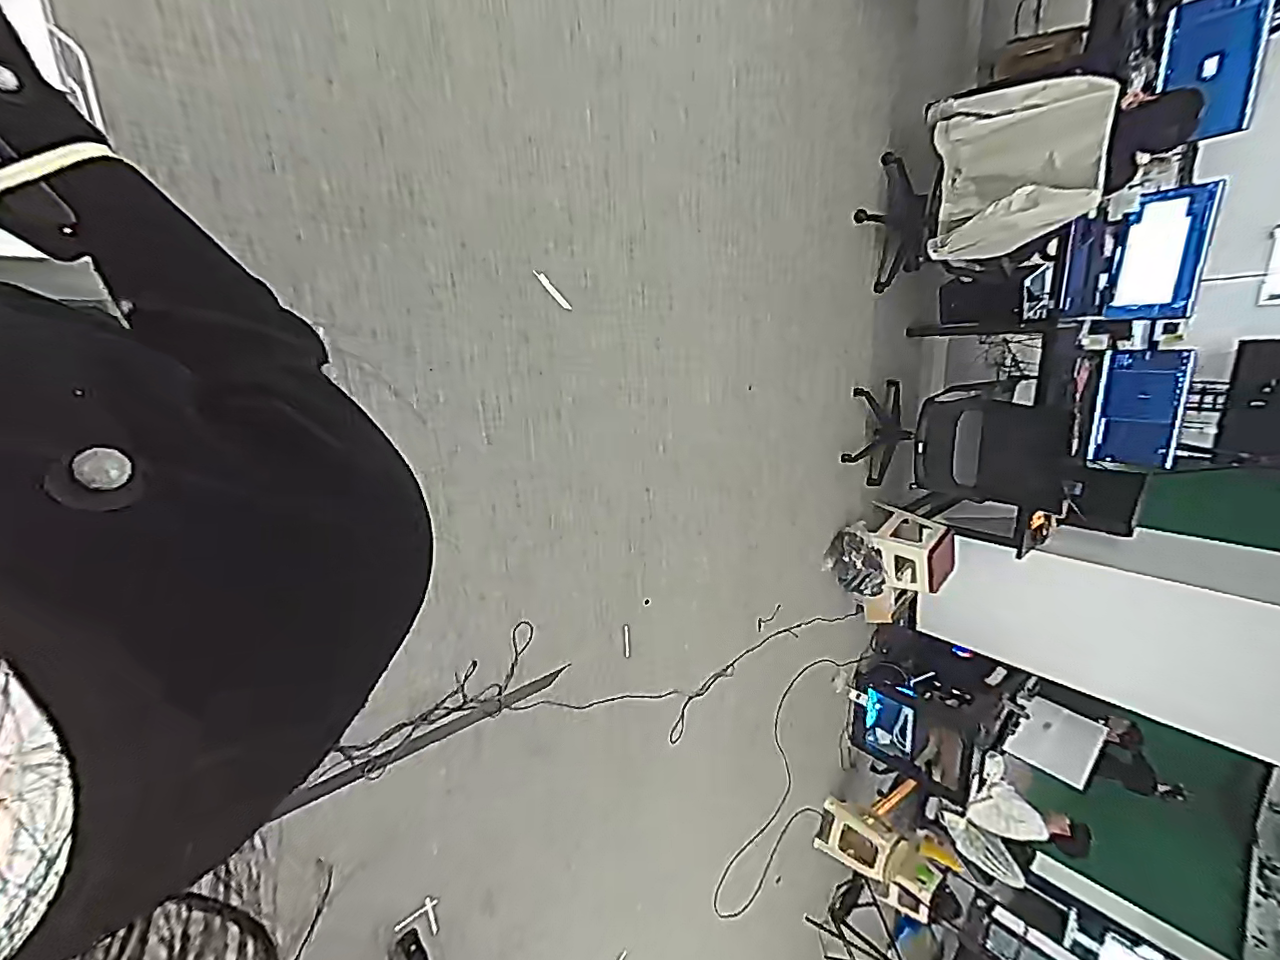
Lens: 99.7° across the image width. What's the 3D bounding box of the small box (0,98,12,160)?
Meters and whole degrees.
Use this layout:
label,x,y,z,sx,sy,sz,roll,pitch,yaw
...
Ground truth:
label,x,y,z,sx,sy,sz,roll,pitch,yaw
small box,-0.676,-0.388,0.445,0.168,0.176,0.179,-12,108,-38
